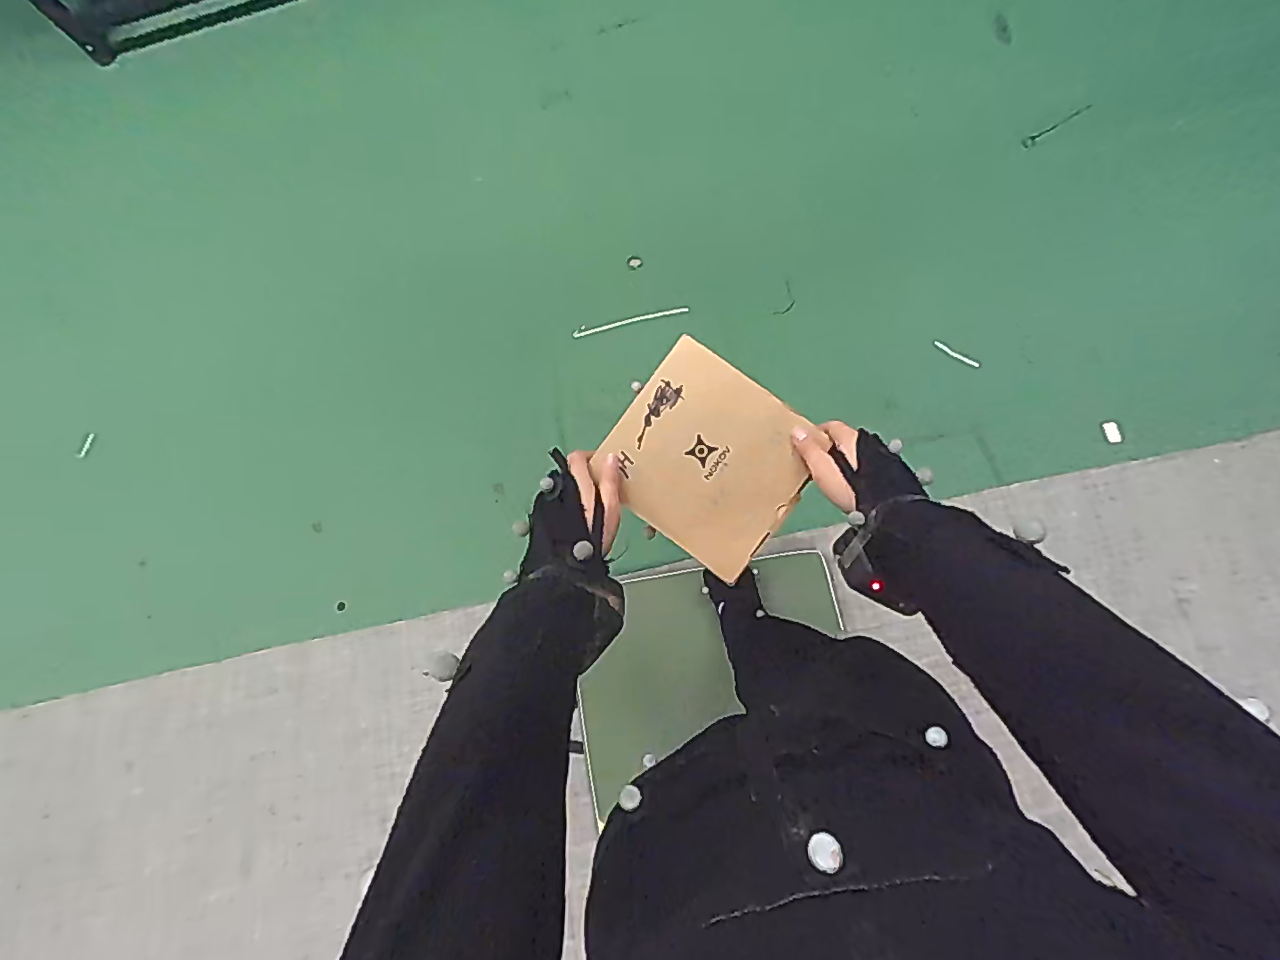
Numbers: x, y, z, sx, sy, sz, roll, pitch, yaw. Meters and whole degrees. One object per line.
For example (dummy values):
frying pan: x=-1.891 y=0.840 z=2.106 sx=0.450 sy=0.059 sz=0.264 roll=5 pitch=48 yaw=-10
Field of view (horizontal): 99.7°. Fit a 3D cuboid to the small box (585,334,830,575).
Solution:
small box: x=0.064 y=-0.022 z=0.586 sx=0.179 sy=0.176 sz=0.168 roll=37 pitch=87 yaw=2
